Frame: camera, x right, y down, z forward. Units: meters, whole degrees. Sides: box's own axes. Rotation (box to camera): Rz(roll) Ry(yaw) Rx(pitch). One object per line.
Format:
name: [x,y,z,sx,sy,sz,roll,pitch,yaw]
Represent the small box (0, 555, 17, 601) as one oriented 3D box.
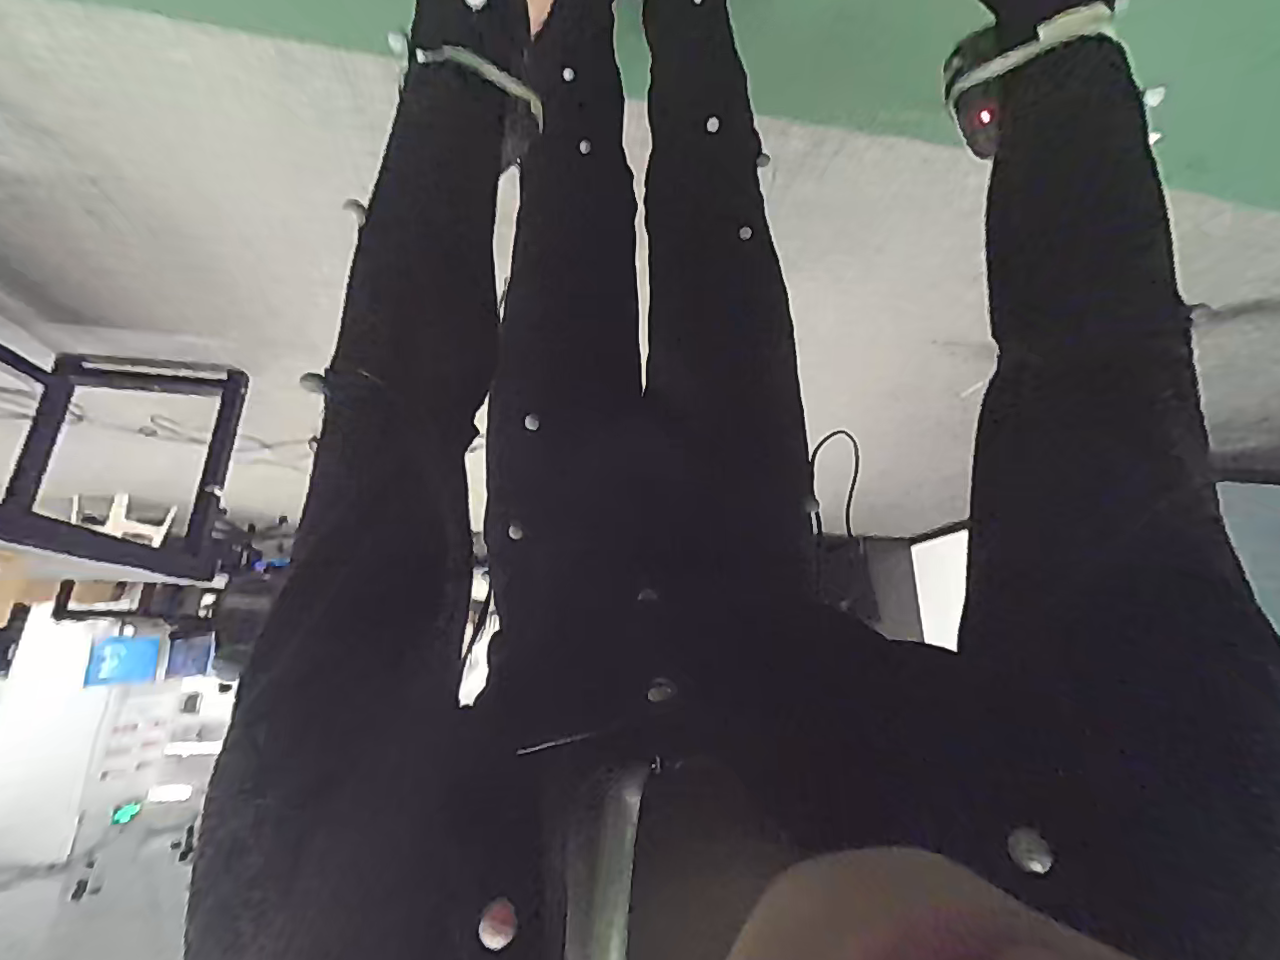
small box: [-1.501,0.228,1.137,0.179,0.176,0.168,4,162,-10]
